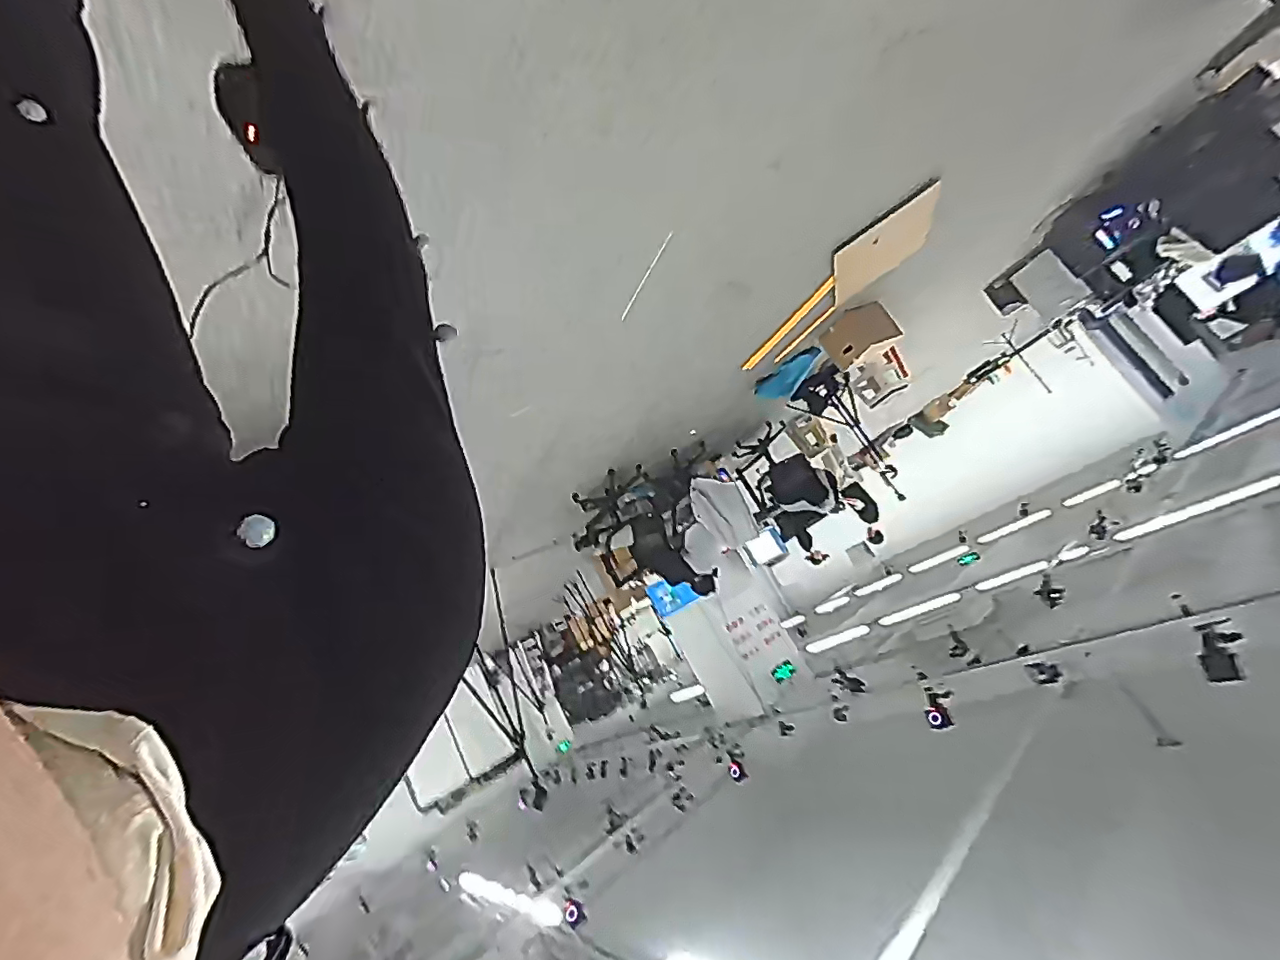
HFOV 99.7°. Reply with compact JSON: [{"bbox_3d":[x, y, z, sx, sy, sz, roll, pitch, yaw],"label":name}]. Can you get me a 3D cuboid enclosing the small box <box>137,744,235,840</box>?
[{"bbox_3d":[-1.251,0.857,1.495,0.168,0.176,0.179,-18,162,-37],"label":"small box"}]
